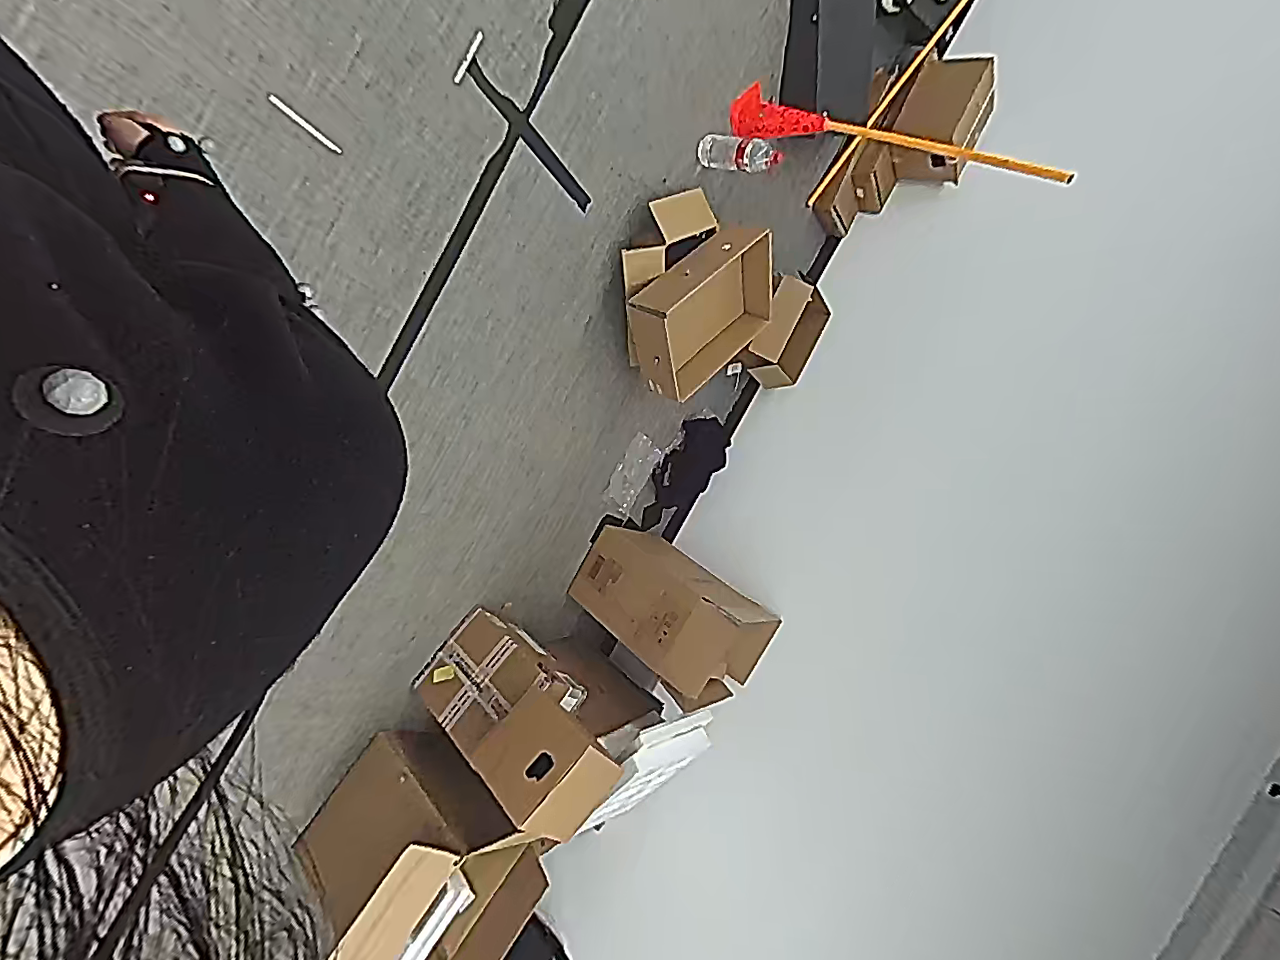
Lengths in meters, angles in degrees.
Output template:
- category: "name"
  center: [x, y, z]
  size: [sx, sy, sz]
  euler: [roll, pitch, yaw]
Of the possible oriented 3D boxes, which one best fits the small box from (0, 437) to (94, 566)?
- category: "small box"
  center: [-1.192, 0.035, 1.022]
  size: [0.168, 0.176, 0.179]
  euler: [-26, 135, -40]
